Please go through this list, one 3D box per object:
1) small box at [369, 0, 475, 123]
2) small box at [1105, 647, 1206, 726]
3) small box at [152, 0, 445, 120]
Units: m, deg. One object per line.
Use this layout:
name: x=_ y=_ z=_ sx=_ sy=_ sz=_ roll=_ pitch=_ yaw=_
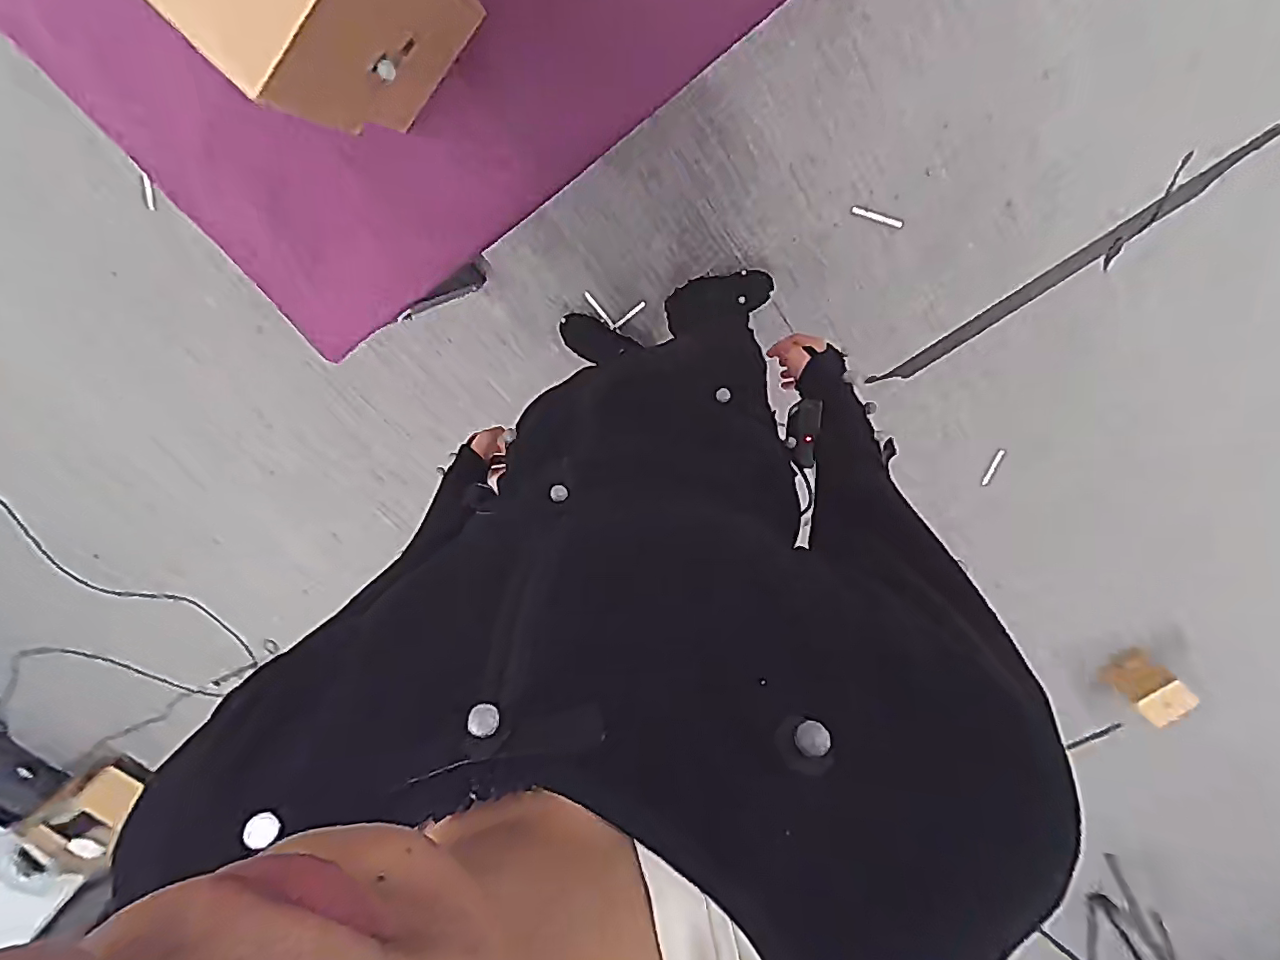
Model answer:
small box: x=-0.302 y=-0.519 z=0.568 sx=0.168 sy=0.176 sz=0.179 roll=42 pitch=108 yaw=-17
small box: x=1.850 y=0.740 z=1.950 sx=0.179 sy=0.176 sz=0.168 roll=38 pitch=109 yaw=-16
small box: x=-0.292 y=-0.429 z=0.428 sx=0.168 sy=0.176 sz=0.179 roll=-40 pitch=109 yaw=18
